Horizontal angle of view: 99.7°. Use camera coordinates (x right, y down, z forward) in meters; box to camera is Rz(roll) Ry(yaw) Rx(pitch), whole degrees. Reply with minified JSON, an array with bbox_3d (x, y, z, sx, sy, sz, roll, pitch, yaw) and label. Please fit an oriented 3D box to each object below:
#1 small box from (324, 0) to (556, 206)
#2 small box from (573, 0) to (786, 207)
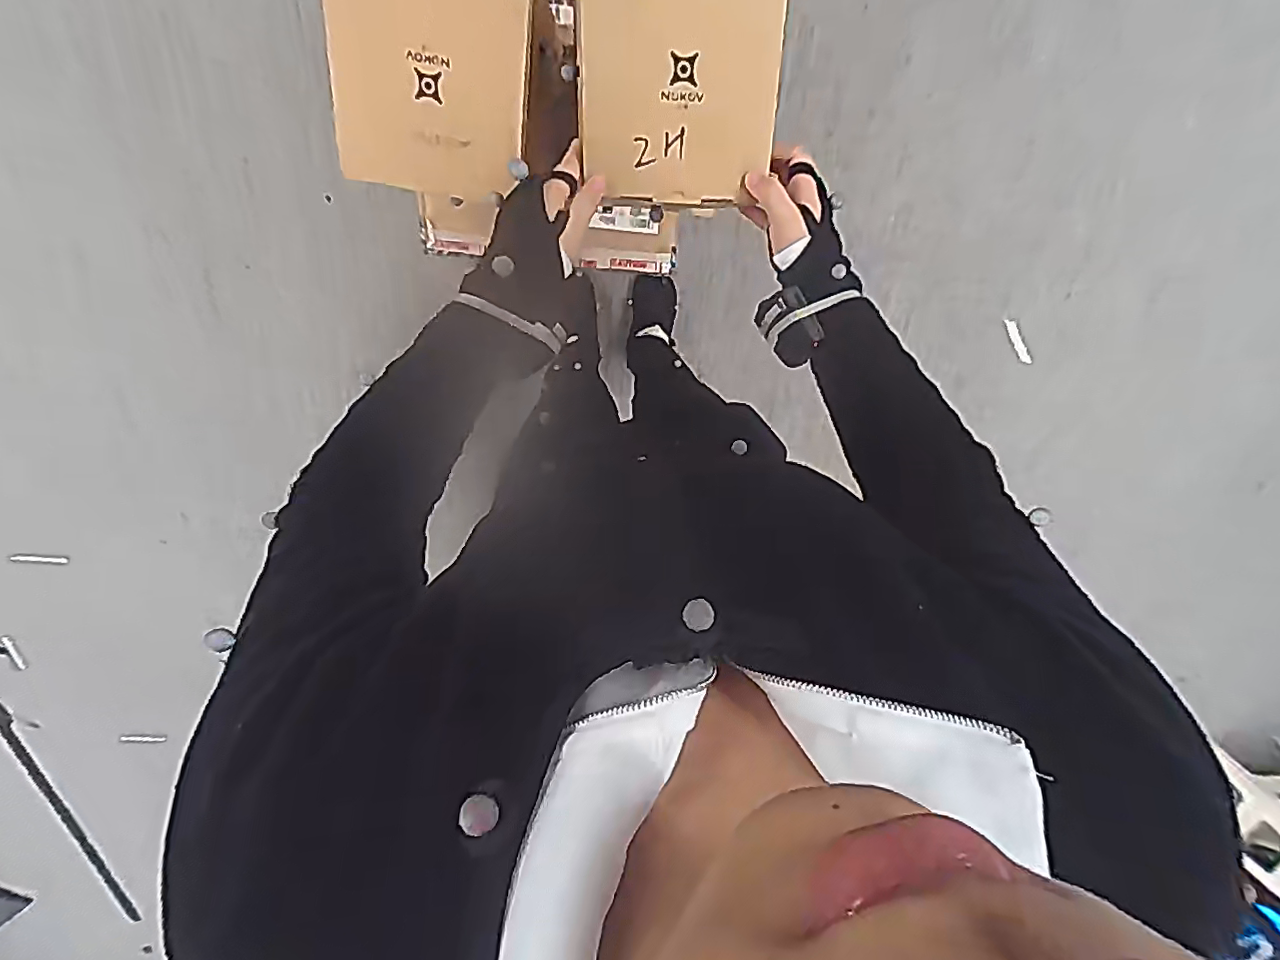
[{"bbox_3d":[-0.178,-0.379,0.525,0.168,0.176,0.179,7,120,-3],"label":"small box"},{"bbox_3d":[0.023,-0.362,0.511,0.168,0.176,0.179,-2,116,-7],"label":"small box"}]
